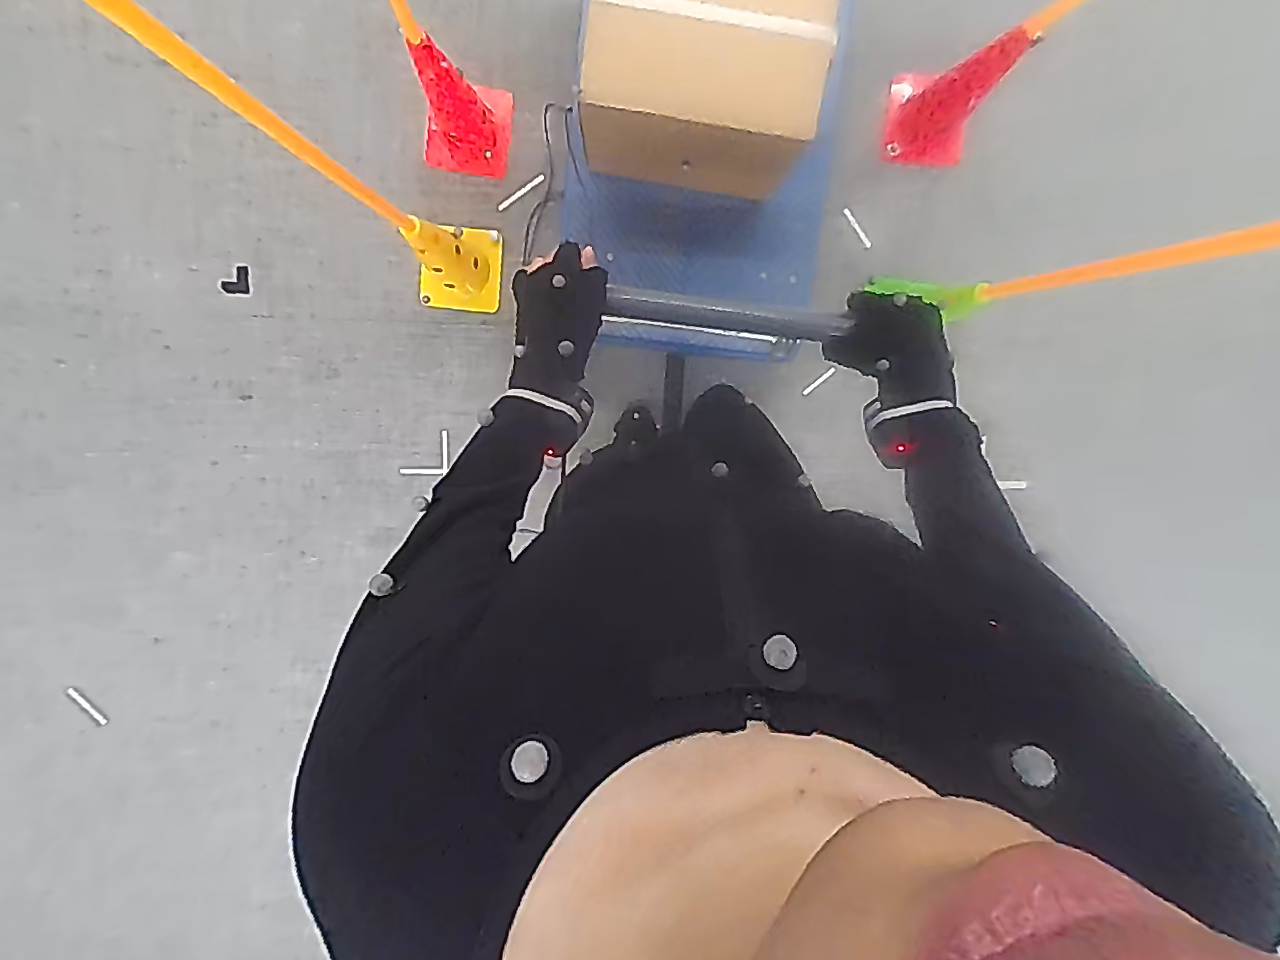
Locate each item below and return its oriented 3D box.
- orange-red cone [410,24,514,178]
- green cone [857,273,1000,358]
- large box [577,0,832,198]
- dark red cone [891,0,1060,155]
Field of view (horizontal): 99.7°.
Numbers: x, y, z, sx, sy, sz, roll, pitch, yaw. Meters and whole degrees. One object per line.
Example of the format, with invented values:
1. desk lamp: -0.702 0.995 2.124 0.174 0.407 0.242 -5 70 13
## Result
1. orange-red cone: -0.410 -0.837 1.156 0.198 0.360 0.199 9 97 -4
2. green cone: 0.683 -0.404 1.246 0.202 0.368 0.200 6 98 -3
3. large box: 0.110 -0.771 1.033 0.408 0.320 0.320 8 99 -2
4. dark red cone: 0.723 -0.879 1.158 0.201 0.394 0.202 2 99 -4
